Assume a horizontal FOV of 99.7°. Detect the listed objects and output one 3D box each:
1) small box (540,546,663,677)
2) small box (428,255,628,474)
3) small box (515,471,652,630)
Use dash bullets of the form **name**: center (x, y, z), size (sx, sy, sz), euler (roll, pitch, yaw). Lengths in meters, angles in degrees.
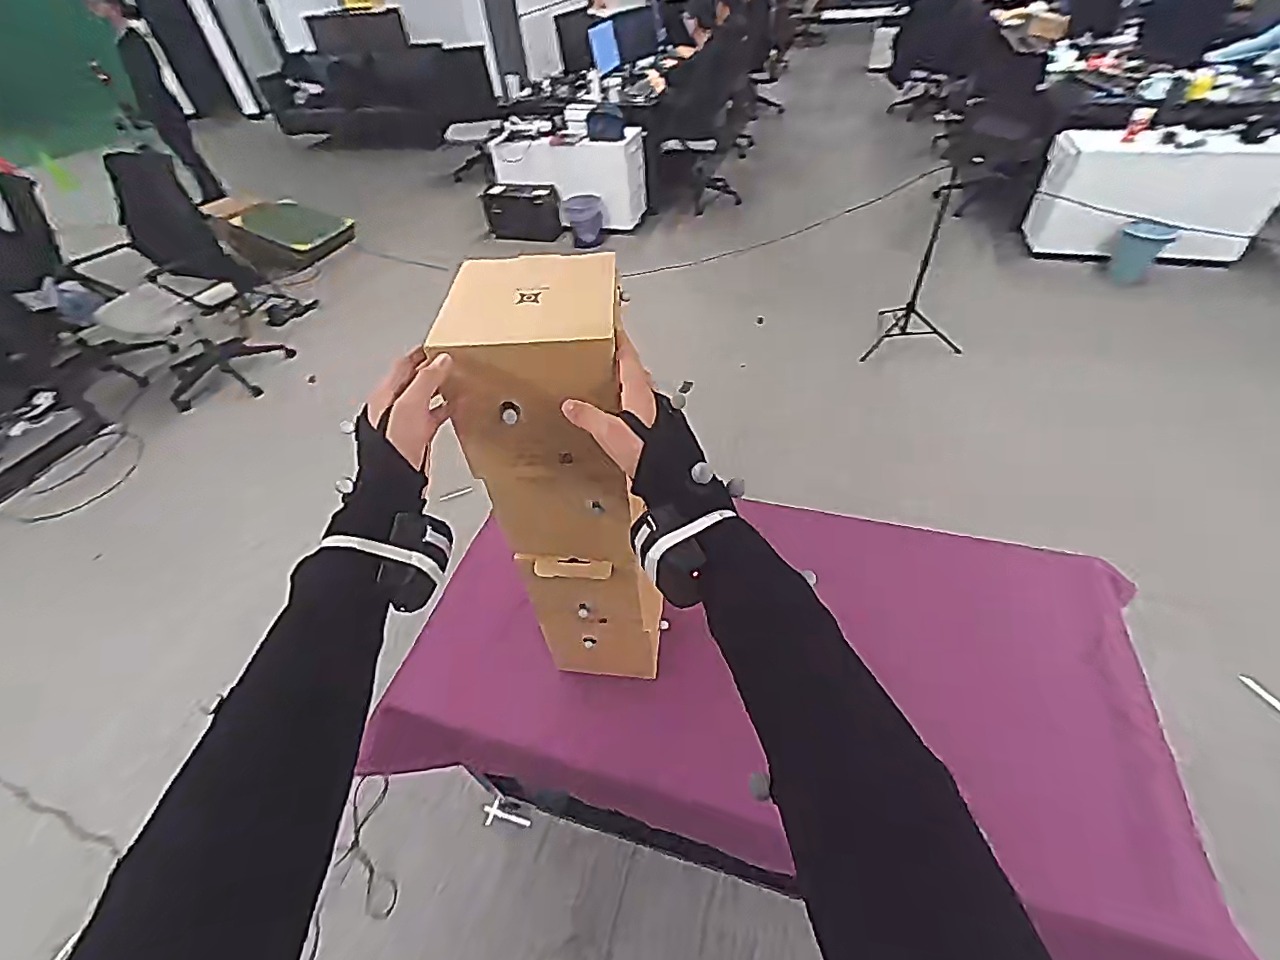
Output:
- **small box**: center (-0.056, 0.223, 0.931), size (0.179, 0.176, 0.168), euler (3, 47, 7)
- **small box**: center (-0.100, -0.118, 0.578), size (0.168, 0.176, 0.179), euler (-2, 45, 1)
- **small box**: center (-0.072, 0.104, 0.819), size (0.168, 0.176, 0.179), euler (1, 46, 7)
